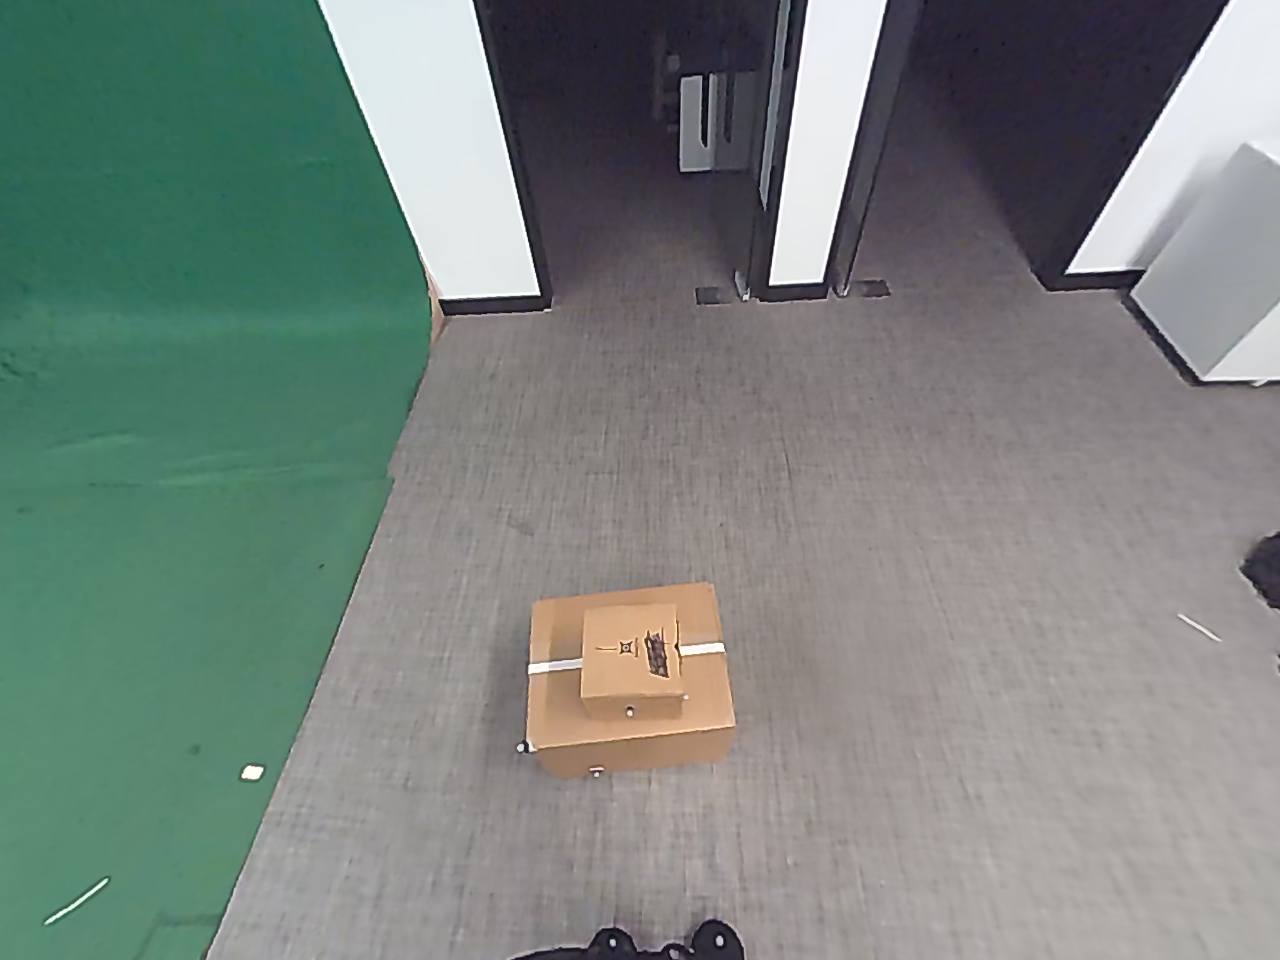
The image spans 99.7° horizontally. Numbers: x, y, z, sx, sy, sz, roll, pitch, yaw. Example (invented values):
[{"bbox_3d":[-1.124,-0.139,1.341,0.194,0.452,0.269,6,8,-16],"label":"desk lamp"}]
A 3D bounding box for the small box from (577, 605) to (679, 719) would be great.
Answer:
[{"bbox_3d":[-0.018,0.352,1.037,0.179,0.176,0.168,-3,53,3],"label":"small box"}]
